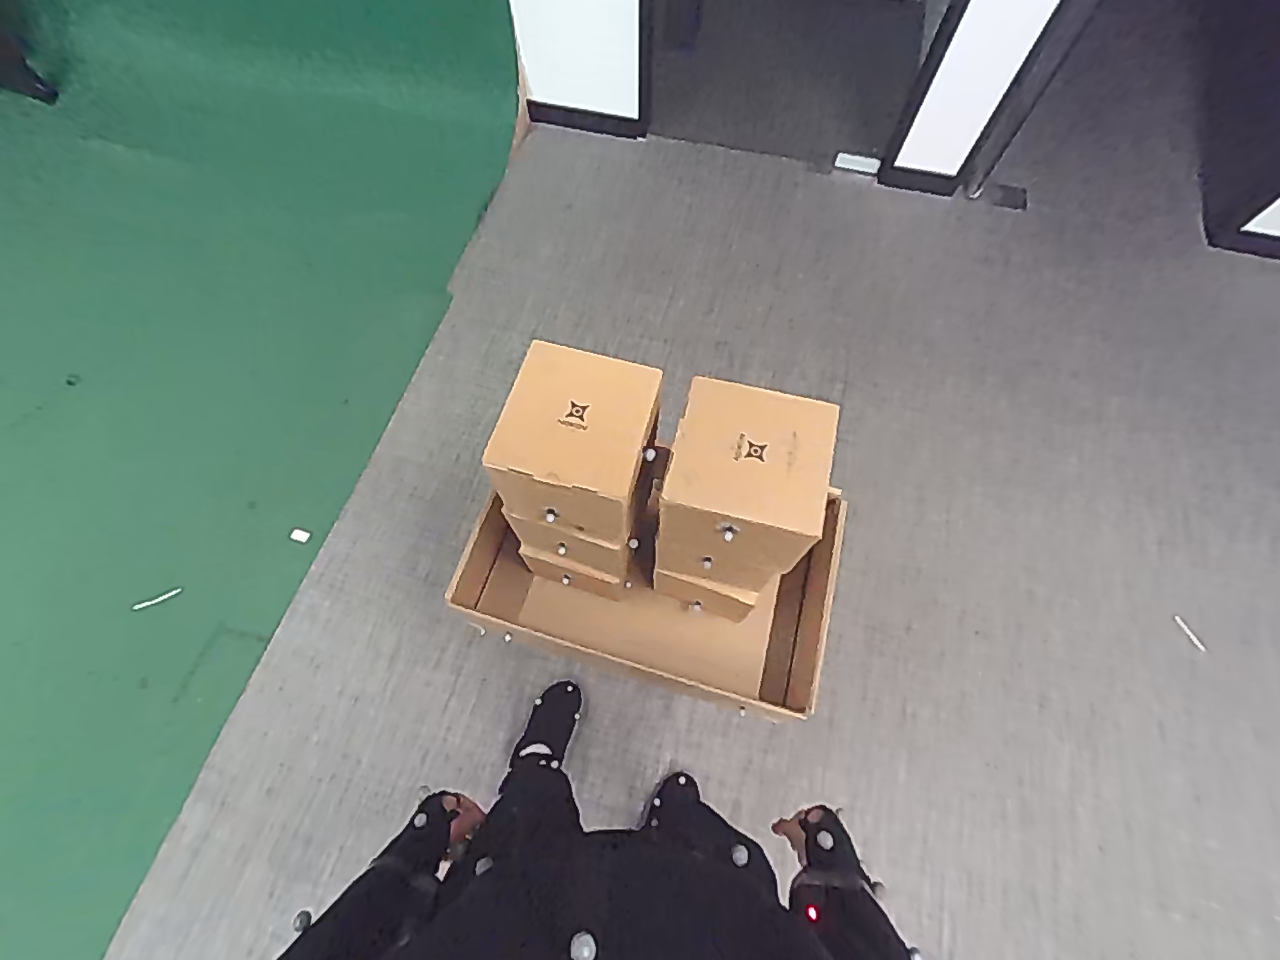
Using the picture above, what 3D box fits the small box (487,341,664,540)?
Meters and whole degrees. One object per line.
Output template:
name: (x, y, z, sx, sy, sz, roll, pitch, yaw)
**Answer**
small box: (-0.073, -0.043, 0.694, 0.168, 0.176, 0.179, 14, 67, 5)
